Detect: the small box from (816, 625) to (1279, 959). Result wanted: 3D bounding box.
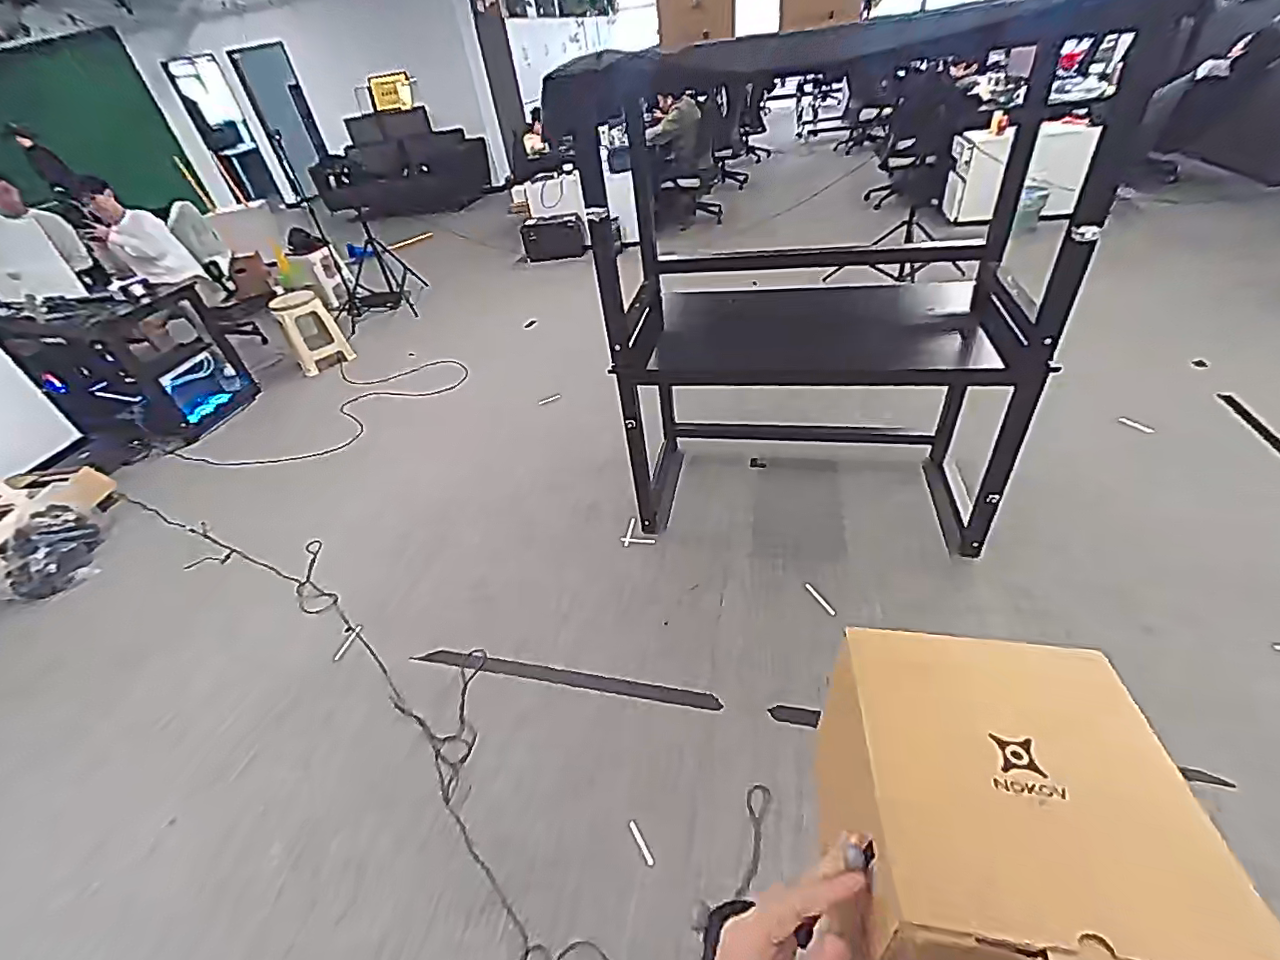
[{"bbox_3d":[0.212,0.220,0.337,0.168,0.176,0.179,3,35,8],"label":"small box"}]

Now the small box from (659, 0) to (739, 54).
[{"bbox_3d":[0.133,-1.052,1.187,0.168,0.176,0.179,1,39,11],"label":"small box"}]
